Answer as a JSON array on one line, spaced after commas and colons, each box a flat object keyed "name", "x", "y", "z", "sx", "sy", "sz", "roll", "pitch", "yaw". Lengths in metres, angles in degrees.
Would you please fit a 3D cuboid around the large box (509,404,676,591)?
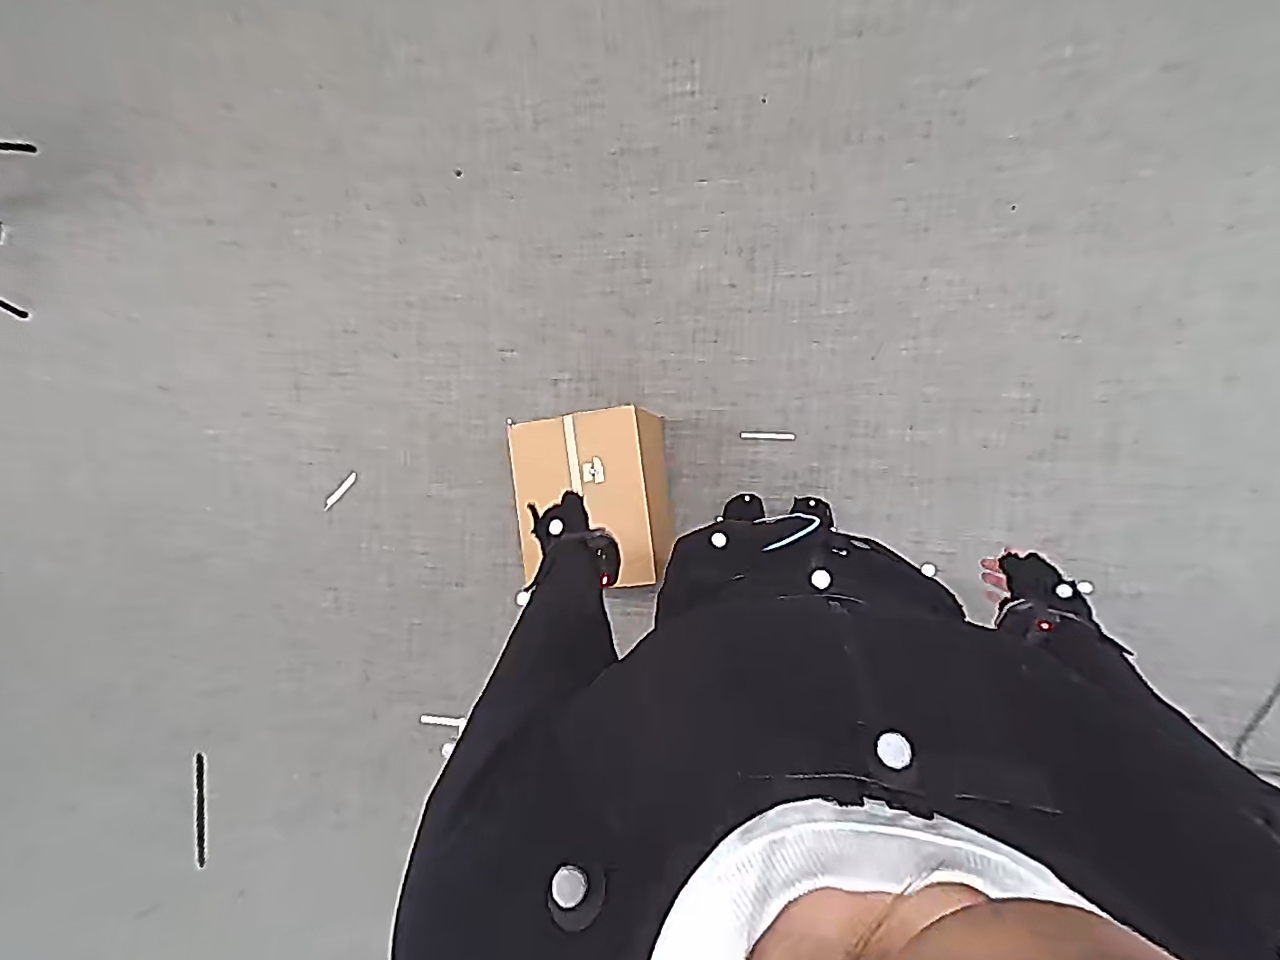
[{"name": "large box", "x": -0.104, "y": 0.046, "z": 1.385, "sx": 0.320, "sy": 0.320, "sz": 0.408, "roll": -8, "pitch": 88, "yaw": 12}]
